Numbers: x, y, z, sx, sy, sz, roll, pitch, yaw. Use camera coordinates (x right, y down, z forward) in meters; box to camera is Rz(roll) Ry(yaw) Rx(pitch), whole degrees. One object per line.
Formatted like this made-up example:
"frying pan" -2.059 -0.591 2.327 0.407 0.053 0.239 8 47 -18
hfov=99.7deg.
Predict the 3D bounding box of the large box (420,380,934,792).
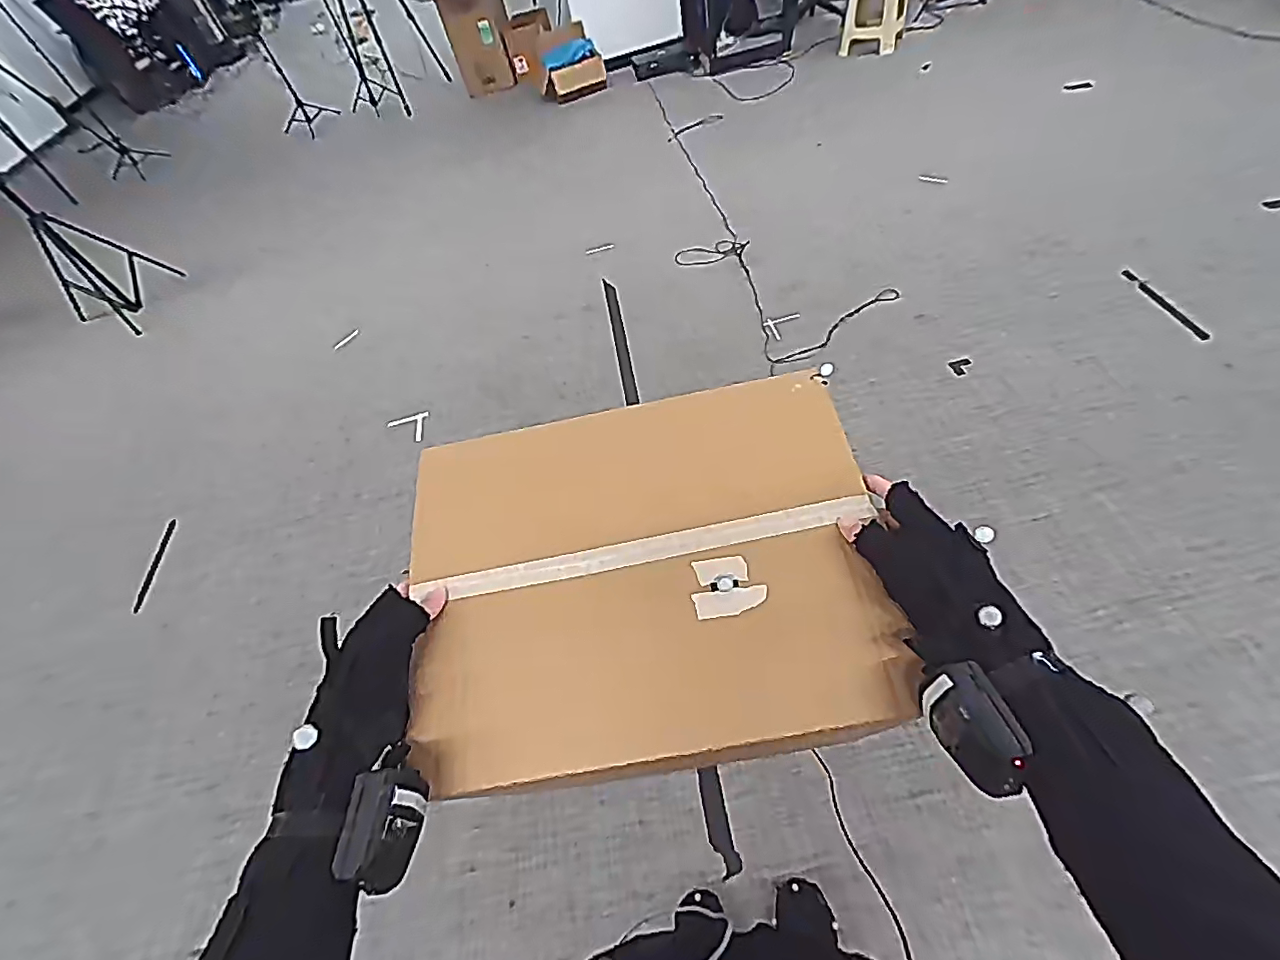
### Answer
"large box" 0.020 0.140 0.606 0.408 0.320 0.320 -11 60 2
